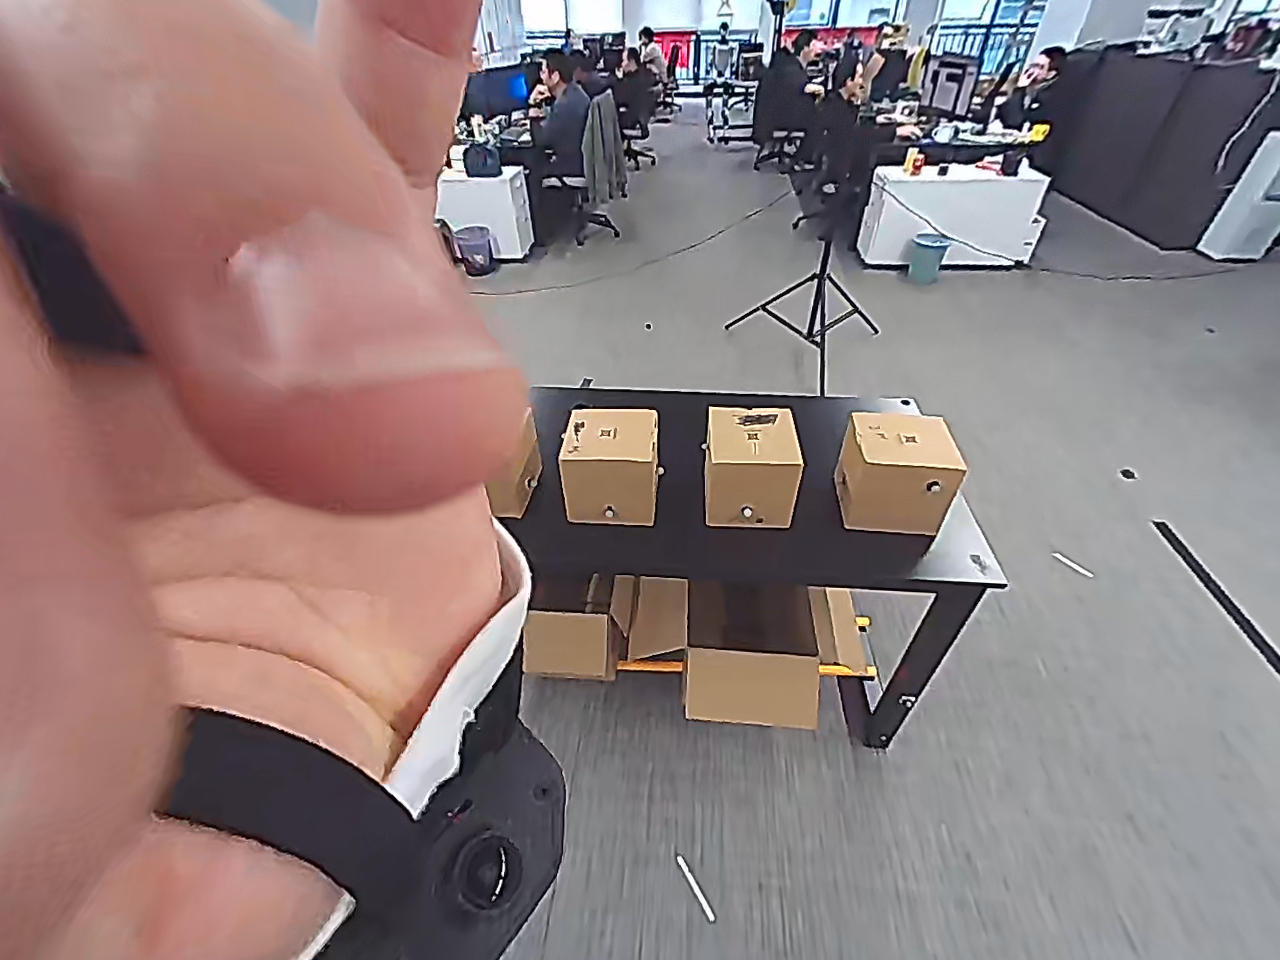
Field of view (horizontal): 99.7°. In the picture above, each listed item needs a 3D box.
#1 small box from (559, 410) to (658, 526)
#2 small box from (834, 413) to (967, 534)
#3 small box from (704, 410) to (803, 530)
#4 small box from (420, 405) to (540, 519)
[{"bbox_3d":[-0.056,-0.023,1.092,0.179,0.176,0.168,2,41,3],"label":"small box"},{"bbox_3d":[0.495,-0.011,1.057,0.179,0.176,0.168,4,40,7],"label":"small box"},{"bbox_3d":[0.216,-0.022,1.082,0.168,0.176,0.179,1,41,4],"label":"small box"},{"bbox_3d":[-0.318,-0.036,1.117,0.179,0.176,0.168,4,42,4],"label":"small box"}]
